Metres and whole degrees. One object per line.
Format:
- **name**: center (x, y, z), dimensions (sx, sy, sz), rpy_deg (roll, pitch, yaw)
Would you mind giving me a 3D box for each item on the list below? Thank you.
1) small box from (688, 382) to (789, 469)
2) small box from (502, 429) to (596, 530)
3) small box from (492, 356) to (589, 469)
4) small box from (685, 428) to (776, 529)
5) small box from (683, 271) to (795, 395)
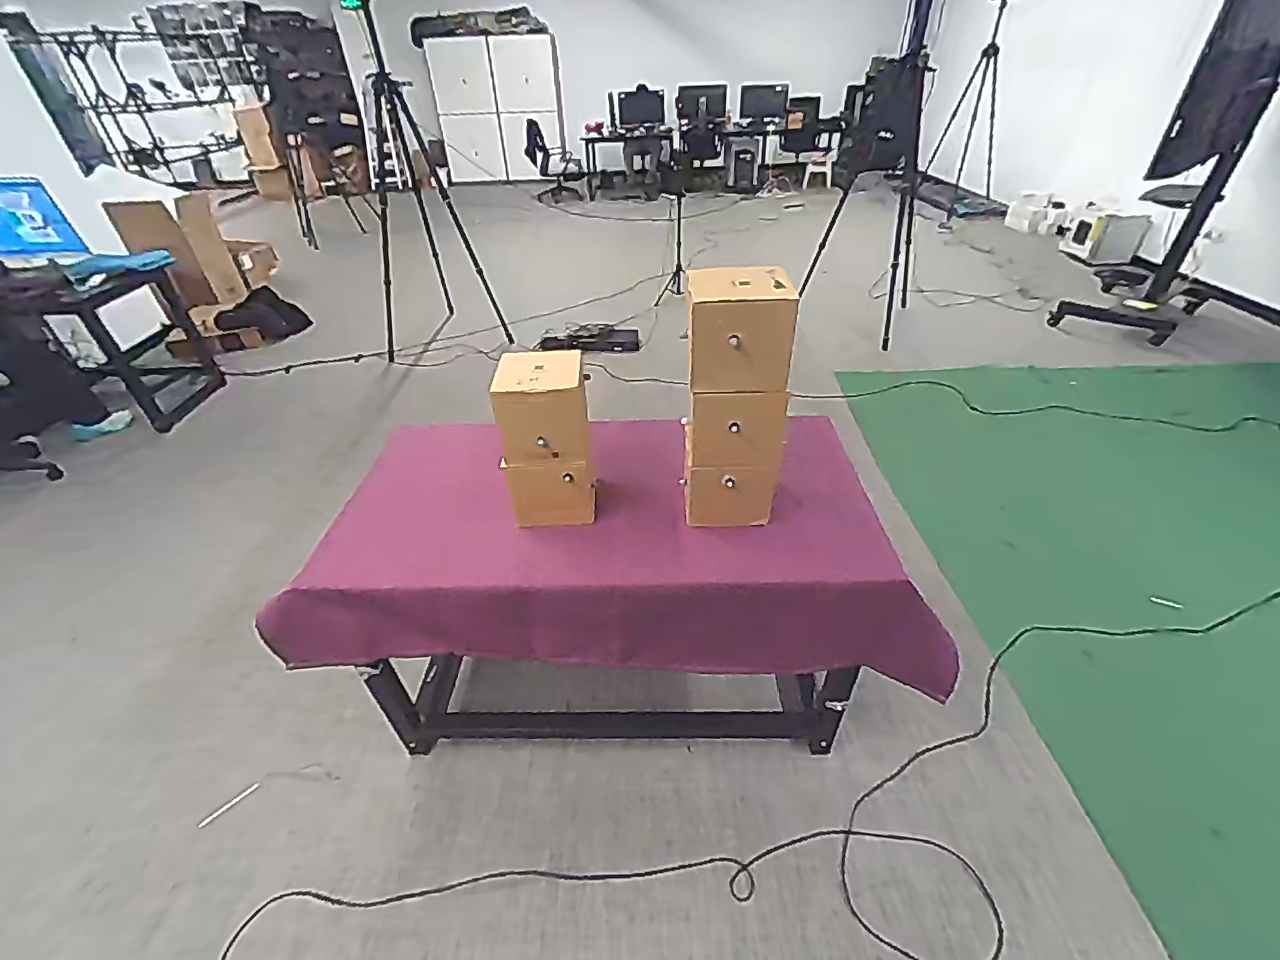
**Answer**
- **small box**: center (0.186, -0.134, 1.079), dimensions (0.179, 0.176, 0.168), rpy_deg (-2, 38, 3)
- **small box**: center (-0.194, -0.002, 1.206), dimensions (0.179, 0.176, 0.168), rpy_deg (-3, 37, -2)
- **small box**: center (-0.196, -0.140, 1.114), dimensions (0.168, 0.176, 0.179), rpy_deg (-4, 37, -1)
- **small box**: center (0.189, -0.006, 1.180), dimensions (0.179, 0.176, 0.168), rpy_deg (-1, 38, 2)
- **small box**: center (0.172, -0.264, 0.979), dimensions (0.179, 0.176, 0.168), rpy_deg (-2, 39, 3)
